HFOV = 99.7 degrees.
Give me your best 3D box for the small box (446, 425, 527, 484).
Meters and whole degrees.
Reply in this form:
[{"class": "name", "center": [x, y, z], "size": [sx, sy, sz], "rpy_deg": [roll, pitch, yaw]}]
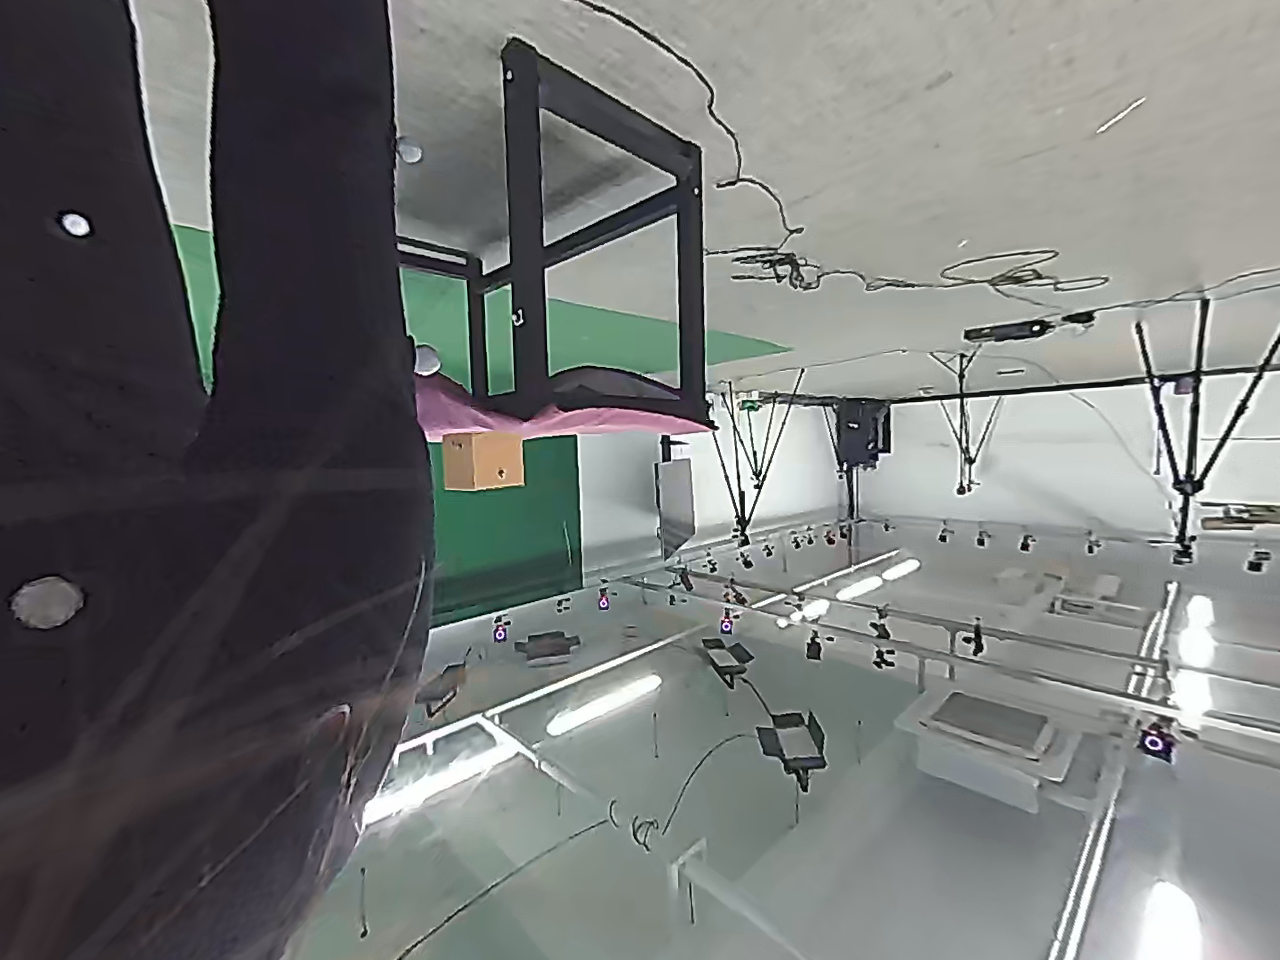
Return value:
[{"class": "small box", "center": [-0.466, -0.081, 1.640], "size": [0.168, 0.176, 0.179], "rpy_deg": [1, -175, 40]}]
